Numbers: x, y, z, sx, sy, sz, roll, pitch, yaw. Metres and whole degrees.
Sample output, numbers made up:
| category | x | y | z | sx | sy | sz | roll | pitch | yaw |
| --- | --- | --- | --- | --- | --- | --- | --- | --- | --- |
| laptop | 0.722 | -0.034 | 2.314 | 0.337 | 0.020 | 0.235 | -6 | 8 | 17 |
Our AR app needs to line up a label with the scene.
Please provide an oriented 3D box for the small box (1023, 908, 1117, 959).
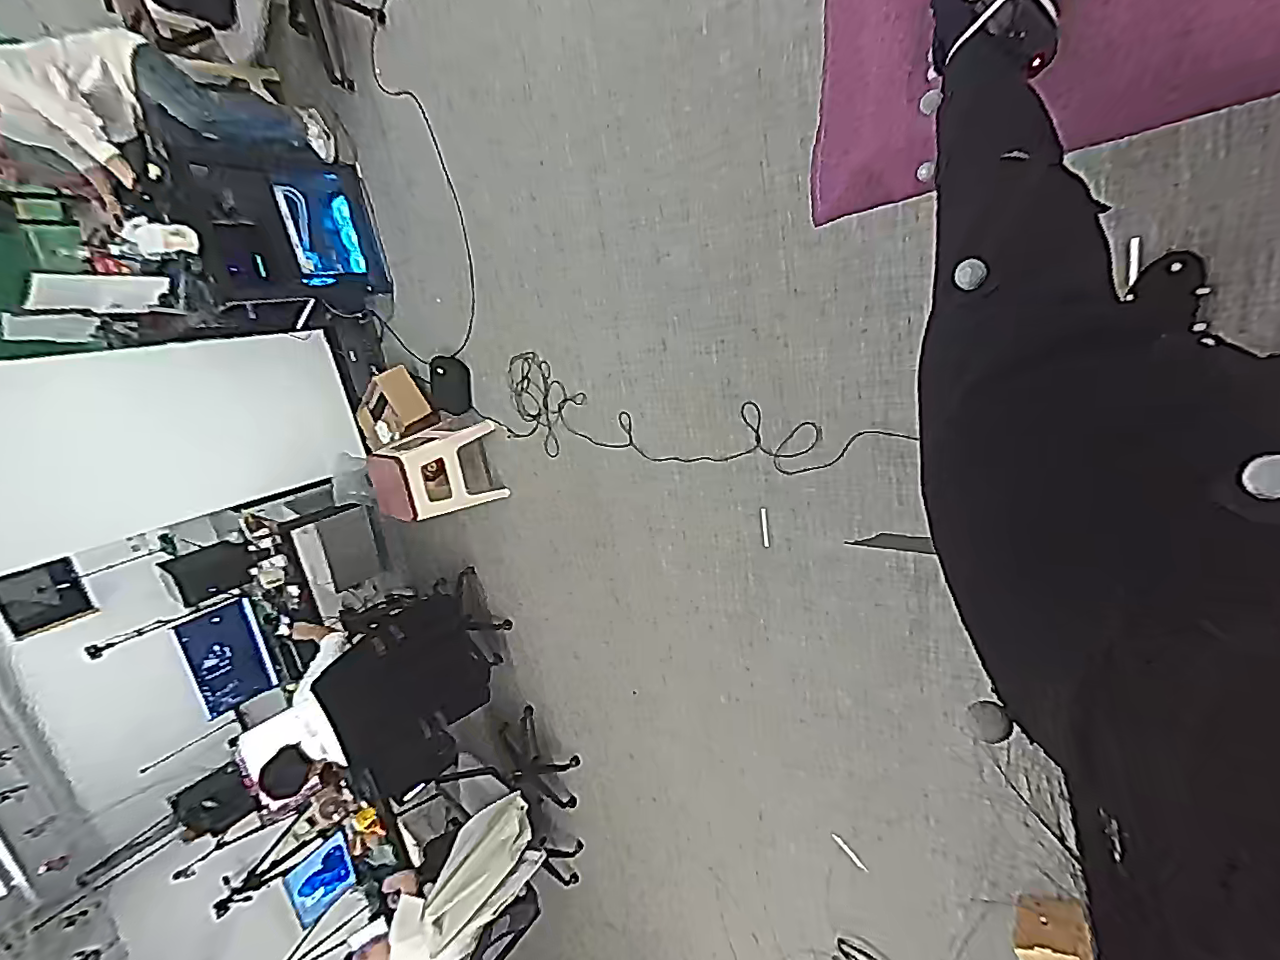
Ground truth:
| category | x | y | z | sx | sy | sz | roll | pitch | yaw |
| --- | --- | --- | --- | --- | --- | --- | --- | --- | --- |
| small box | 1.221 | 1.360 | 1.525 | 0.168 | 0.176 | 0.179 | -34 | 84 | 43 |
